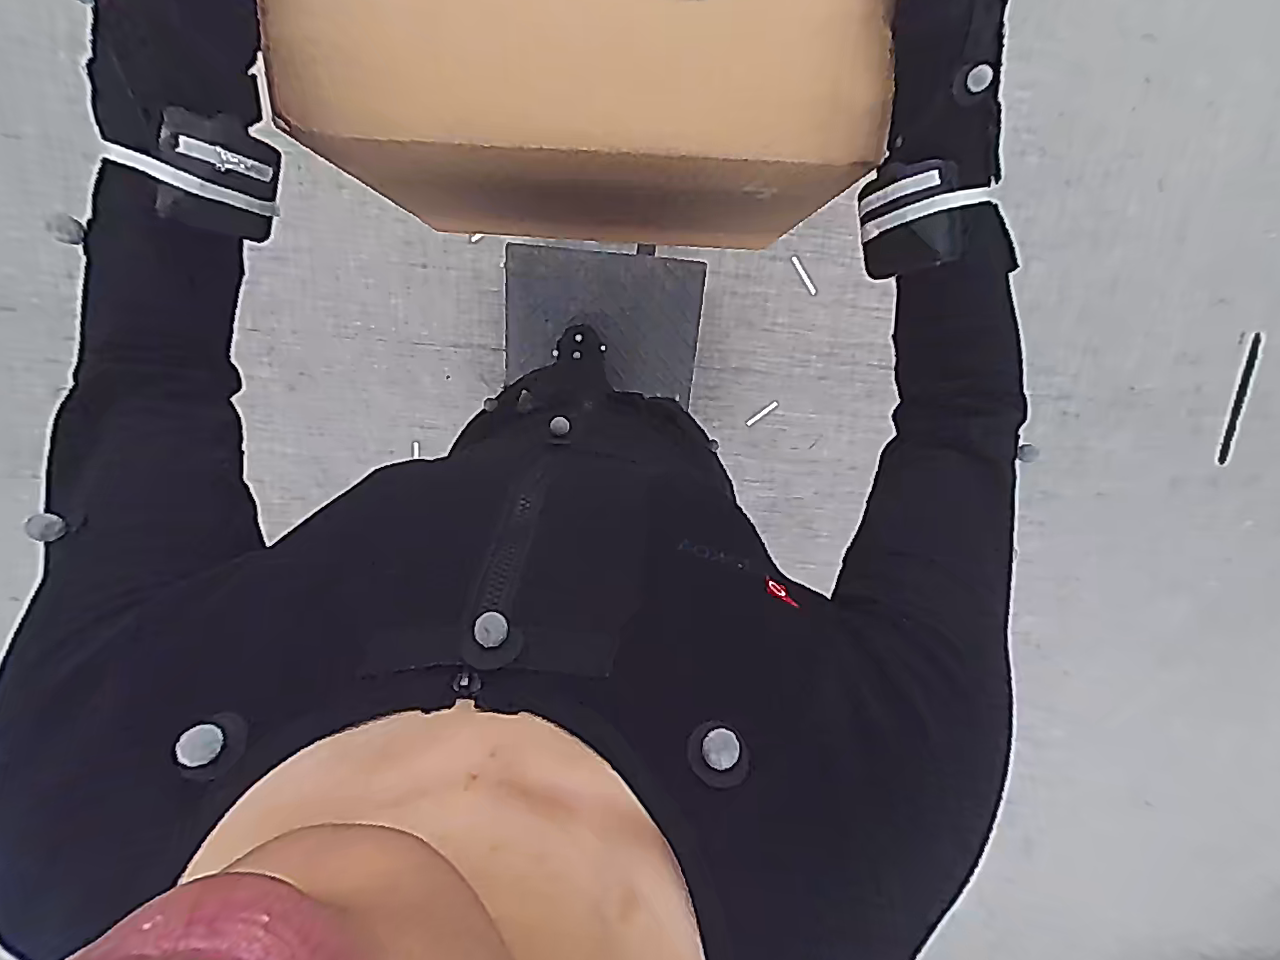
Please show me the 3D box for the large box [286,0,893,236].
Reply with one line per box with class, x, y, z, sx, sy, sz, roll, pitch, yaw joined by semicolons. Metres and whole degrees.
large box;-0.035;-0.418;0.481;0.408;0.320;0.320;2;104;-3
